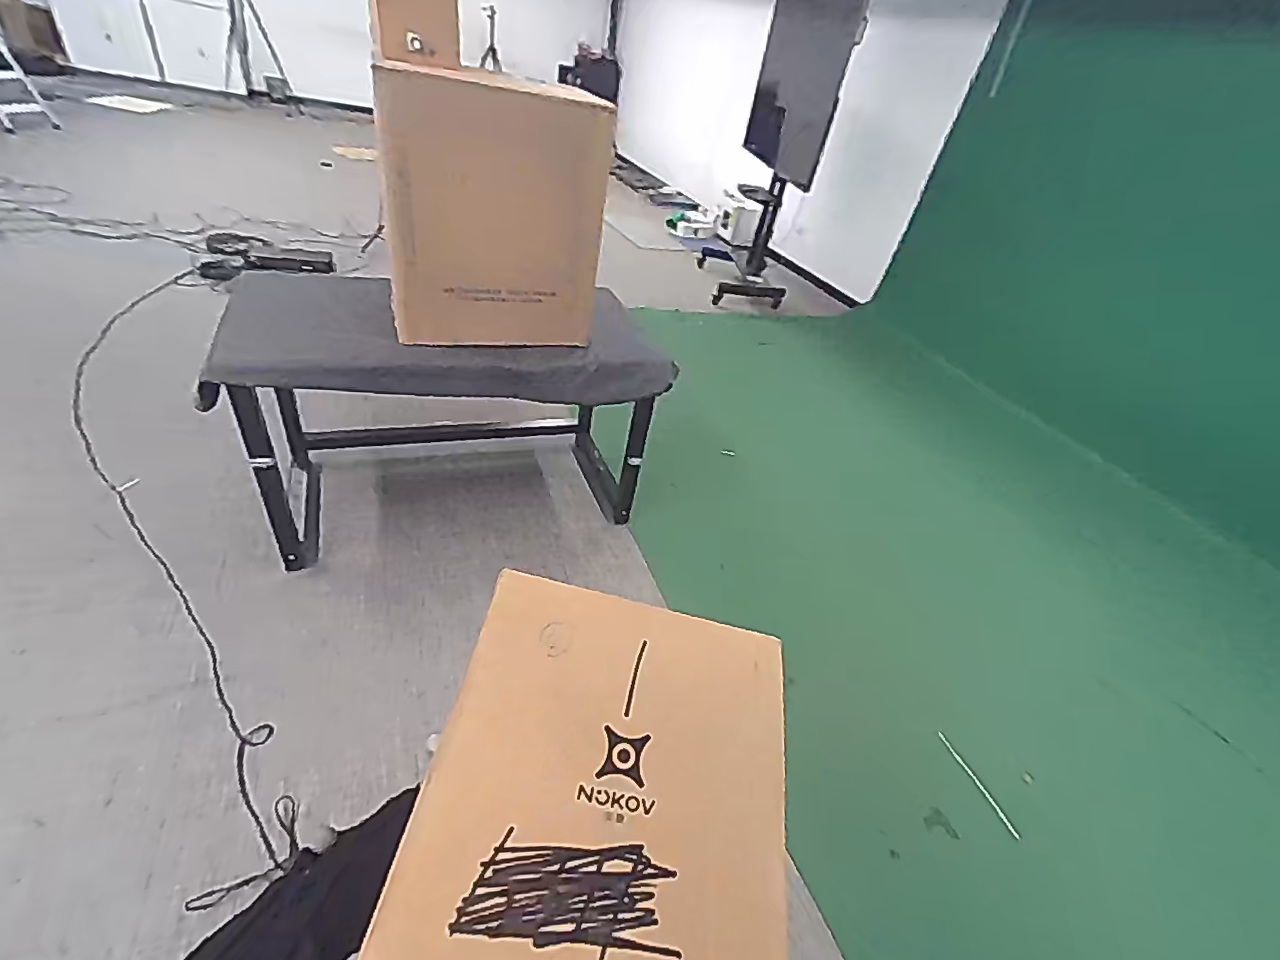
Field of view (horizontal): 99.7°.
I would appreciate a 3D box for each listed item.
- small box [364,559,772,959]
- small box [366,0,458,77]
[{"bbox_3d":[-0.031,0.178,0.324,0.168,0.176,0.179,14,51,-5],"label":"small box"},{"bbox_3d":[-0.503,-1.008,1.185,0.168,0.176,0.179,-12,47,-24],"label":"small box"}]
